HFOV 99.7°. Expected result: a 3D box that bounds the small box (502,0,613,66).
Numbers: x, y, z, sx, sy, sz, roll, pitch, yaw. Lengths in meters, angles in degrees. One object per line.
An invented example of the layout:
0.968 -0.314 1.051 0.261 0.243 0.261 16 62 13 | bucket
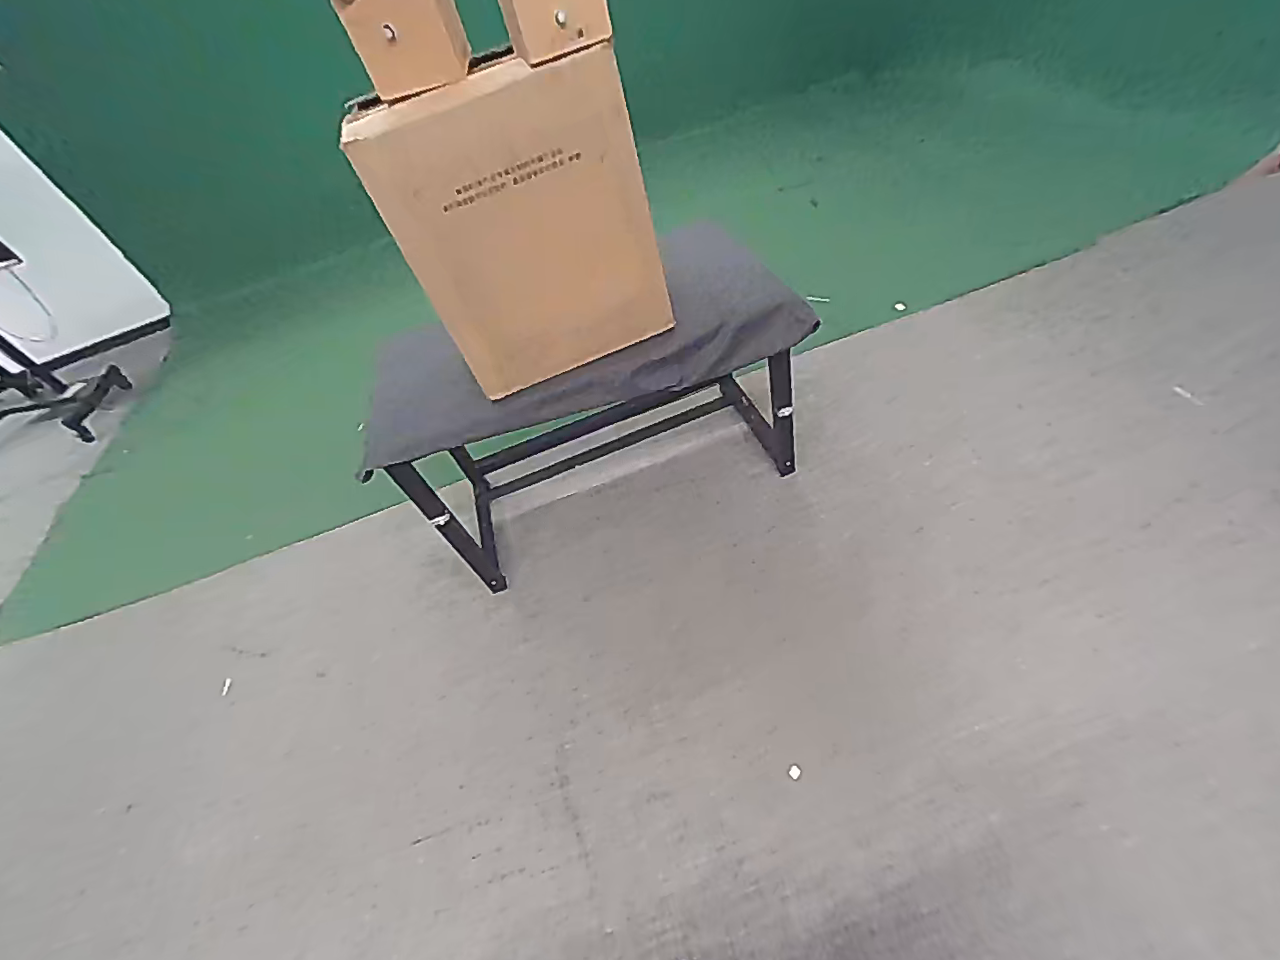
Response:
-0.164 -0.892 0.995 0.168 0.176 0.179 -22 48 -3 | small box

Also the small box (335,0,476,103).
-0.439 -0.864 1.040 0.179 0.176 0.168 -12 55 6 | small box
